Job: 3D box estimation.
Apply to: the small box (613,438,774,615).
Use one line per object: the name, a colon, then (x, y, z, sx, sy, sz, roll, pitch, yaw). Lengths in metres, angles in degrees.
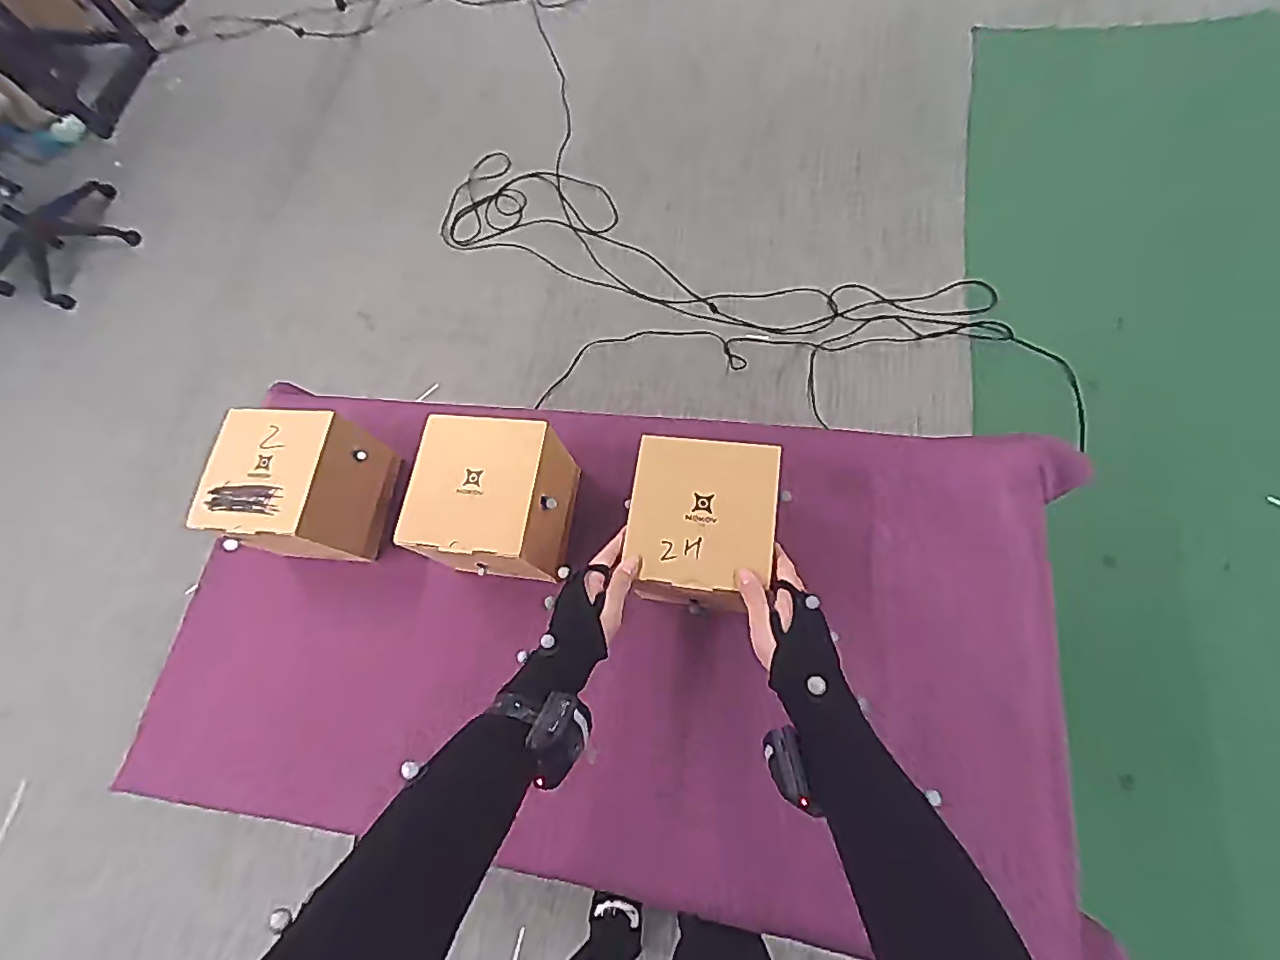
small box: (0.074, 0.065, 0.687, 0.168, 0.176, 0.179, 6, 72, 12)

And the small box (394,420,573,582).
small box: (-0.200, 0.034, 0.748, 0.168, 0.176, 0.179, 4, 72, 11)
